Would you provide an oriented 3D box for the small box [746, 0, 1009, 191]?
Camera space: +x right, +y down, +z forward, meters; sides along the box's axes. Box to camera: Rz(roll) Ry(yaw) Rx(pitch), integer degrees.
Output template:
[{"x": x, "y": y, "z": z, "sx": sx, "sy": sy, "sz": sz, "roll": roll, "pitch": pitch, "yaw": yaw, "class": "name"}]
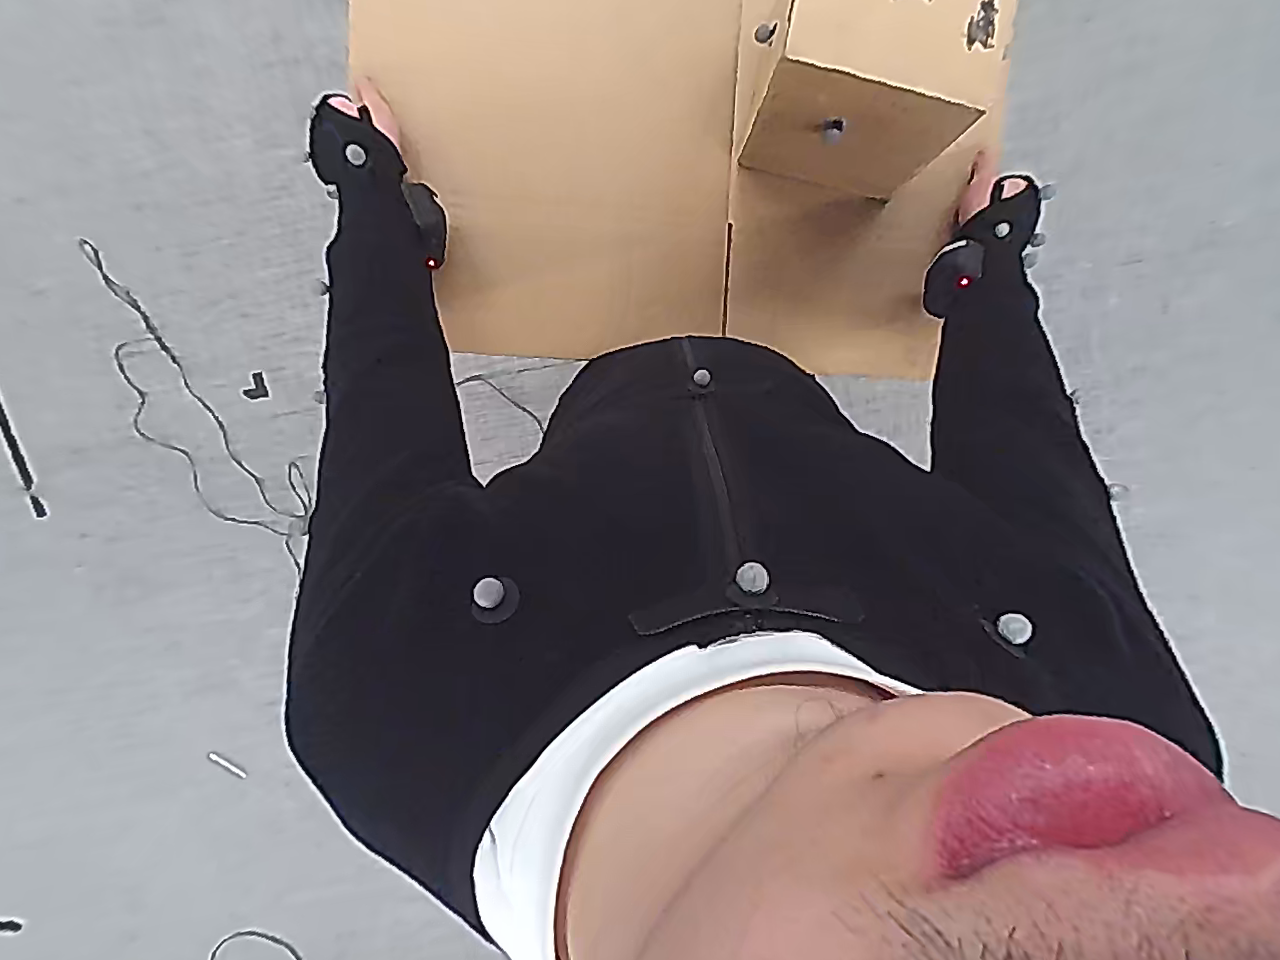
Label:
[{"x": 0.212, "y": -0.405, "z": 0.513, "sx": 0.179, "sy": 0.176, "sz": 0.168, "roll": 13, "pitch": 94, "yaw": -1, "class": "small box"}]
